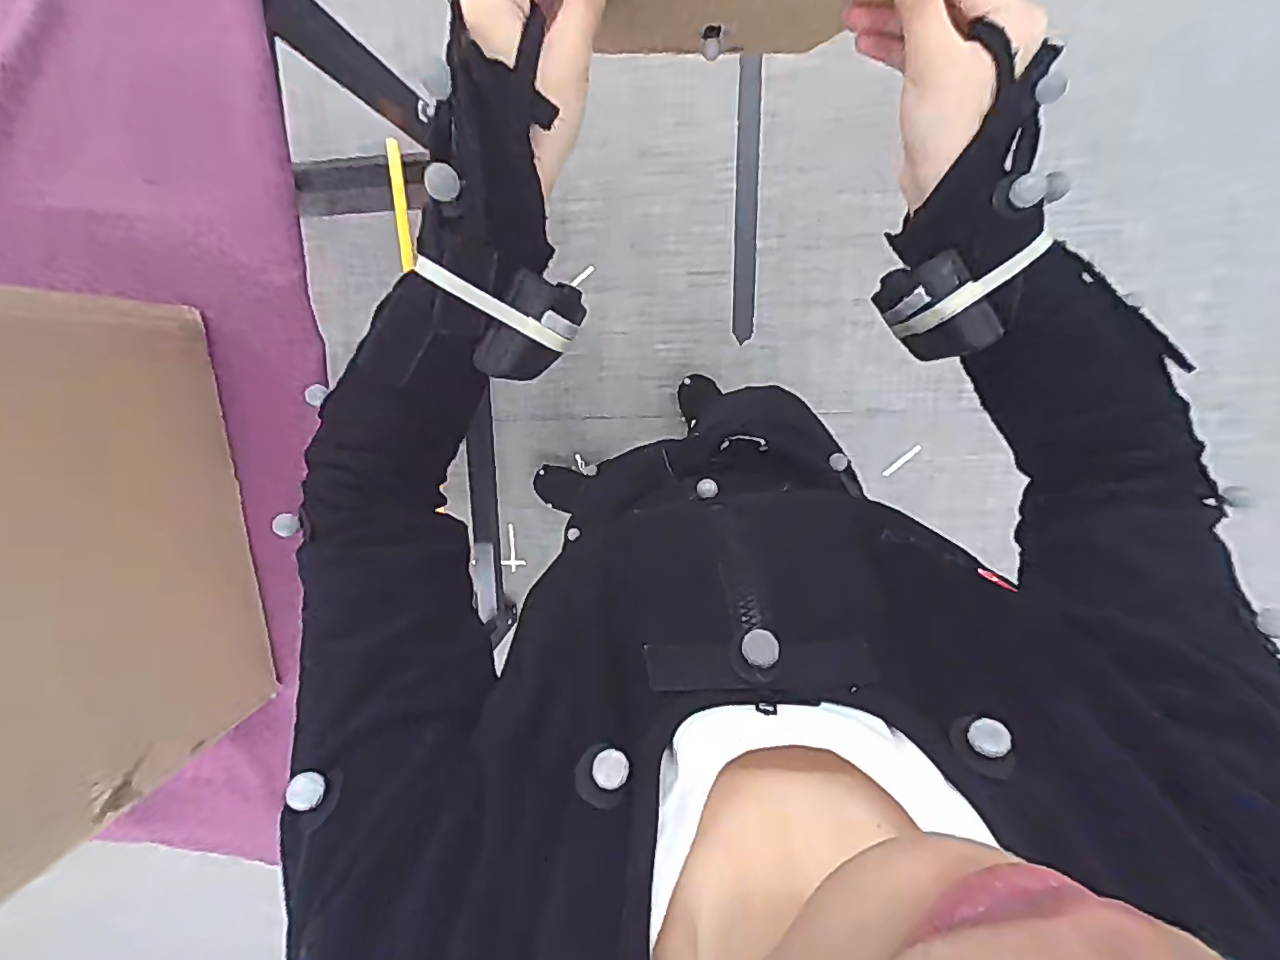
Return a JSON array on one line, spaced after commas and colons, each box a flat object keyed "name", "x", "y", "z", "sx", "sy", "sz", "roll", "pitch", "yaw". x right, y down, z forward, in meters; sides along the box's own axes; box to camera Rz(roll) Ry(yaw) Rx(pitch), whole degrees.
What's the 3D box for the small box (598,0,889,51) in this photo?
[{"name": "small box", "x": 0.057, "y": -0.356, "z": 0.294, "sx": 0.168, "sy": 0.176, "sz": 0.179, "roll": -2, "pitch": 119, "yaw": -4}]
